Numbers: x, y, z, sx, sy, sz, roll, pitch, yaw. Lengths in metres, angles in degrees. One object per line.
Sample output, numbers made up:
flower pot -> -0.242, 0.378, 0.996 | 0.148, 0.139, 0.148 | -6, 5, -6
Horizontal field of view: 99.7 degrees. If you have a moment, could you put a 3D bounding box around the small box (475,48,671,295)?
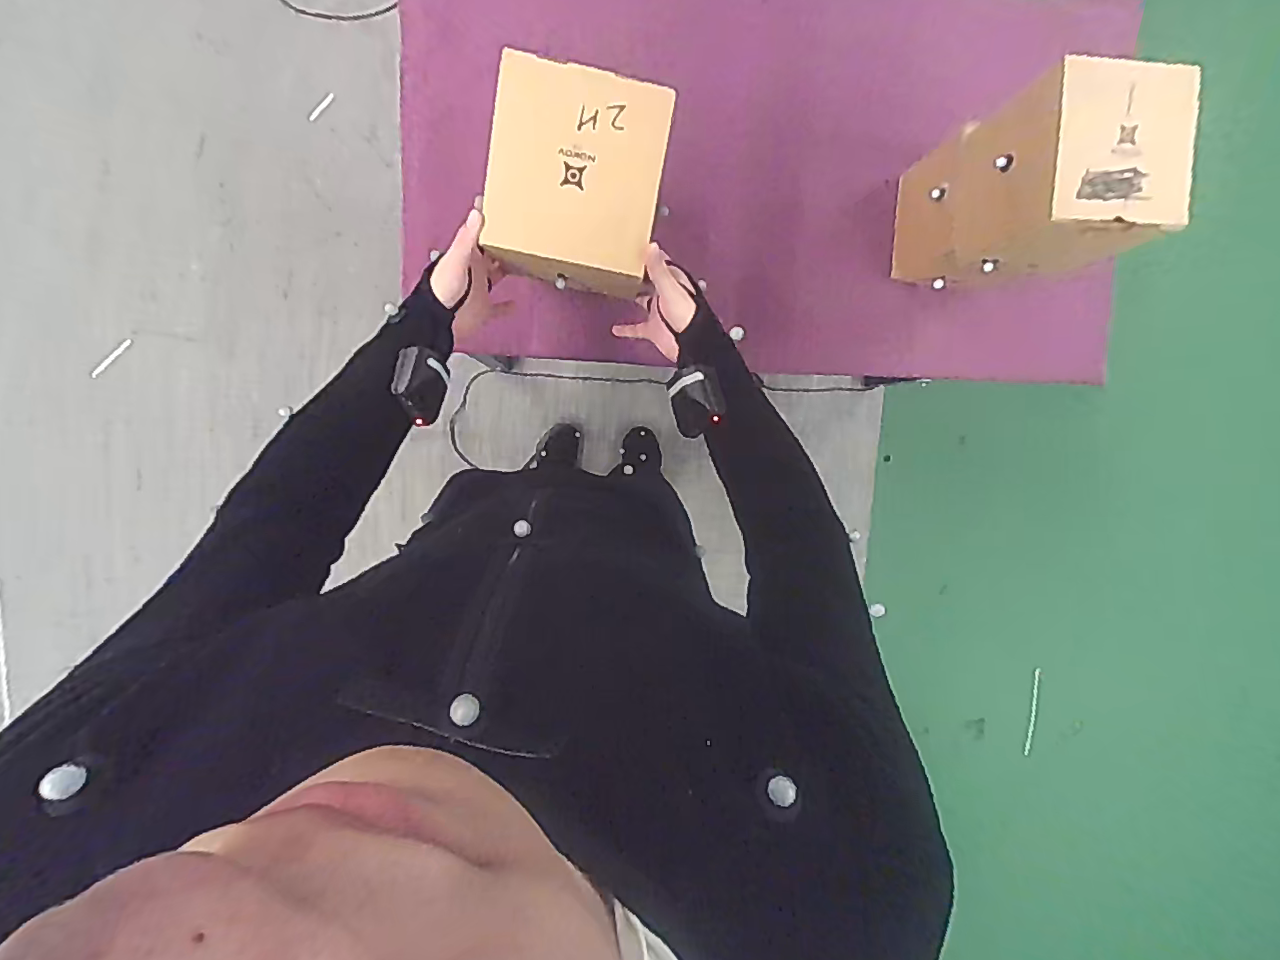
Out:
small box -> -0.070, -0.315, 0.597 | 0.168, 0.176, 0.179 | 10, 101, -6

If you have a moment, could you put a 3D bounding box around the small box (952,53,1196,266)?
small box -> 0.523, -0.381, 0.678 | 0.168, 0.176, 0.179 | 2, 94, -5

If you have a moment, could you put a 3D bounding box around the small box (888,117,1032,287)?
small box -> 0.510, -0.417, 0.838 | 0.168, 0.176, 0.179 | 4, 96, -5
